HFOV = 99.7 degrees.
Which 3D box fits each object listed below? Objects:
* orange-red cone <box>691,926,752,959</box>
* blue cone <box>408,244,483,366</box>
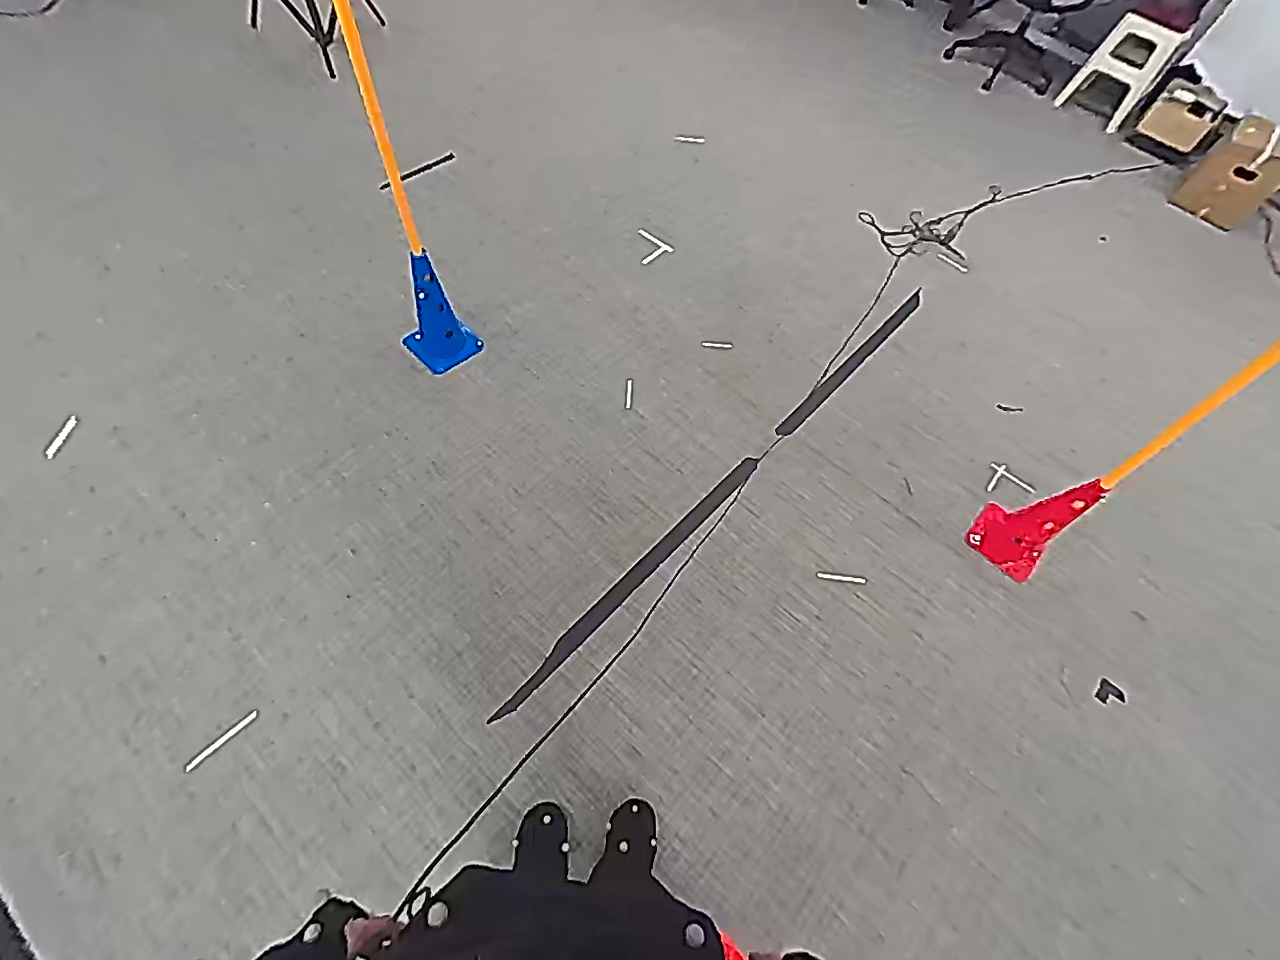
[{"bbox_3d":[0.177,0.929,0.882,0.199,0.360,0.198,-39,71,-24],"label":"orange-red cone"},{"bbox_3d":[-0.628,-0.546,1.649,0.192,0.380,0.193,-38,72,-25],"label":"blue cone"}]
